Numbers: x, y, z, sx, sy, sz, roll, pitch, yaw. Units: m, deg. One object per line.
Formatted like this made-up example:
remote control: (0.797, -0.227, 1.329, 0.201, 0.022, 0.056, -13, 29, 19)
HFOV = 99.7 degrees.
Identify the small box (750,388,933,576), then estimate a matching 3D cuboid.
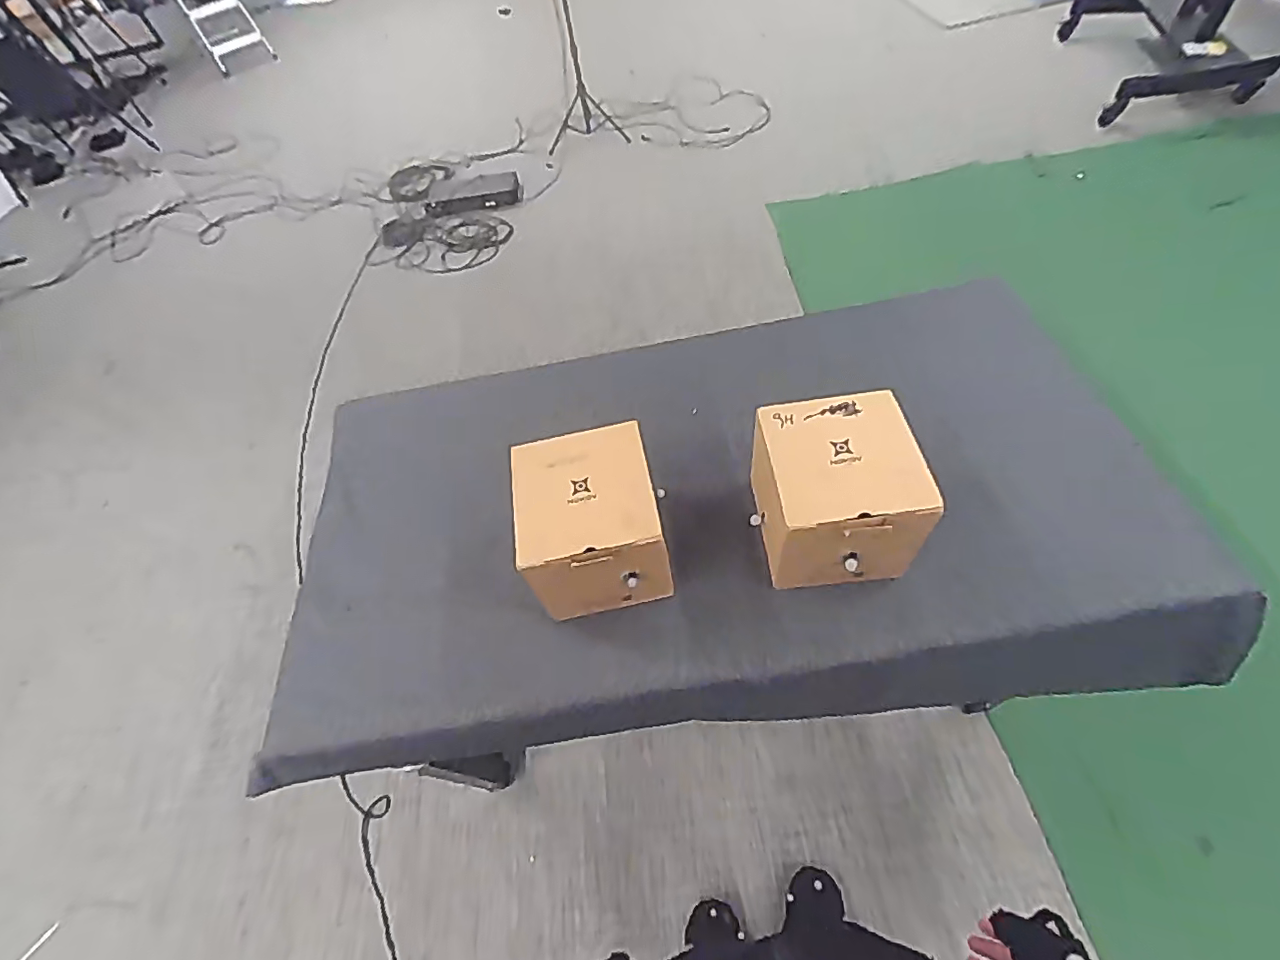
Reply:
small box: (0.238, 0.012, 0.690, 0.168, 0.176, 0.179, -8, 57, 4)

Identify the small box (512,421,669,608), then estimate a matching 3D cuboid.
small box: (-0.061, 0.054, 0.714, 0.168, 0.176, 0.179, -13, 55, -1)
